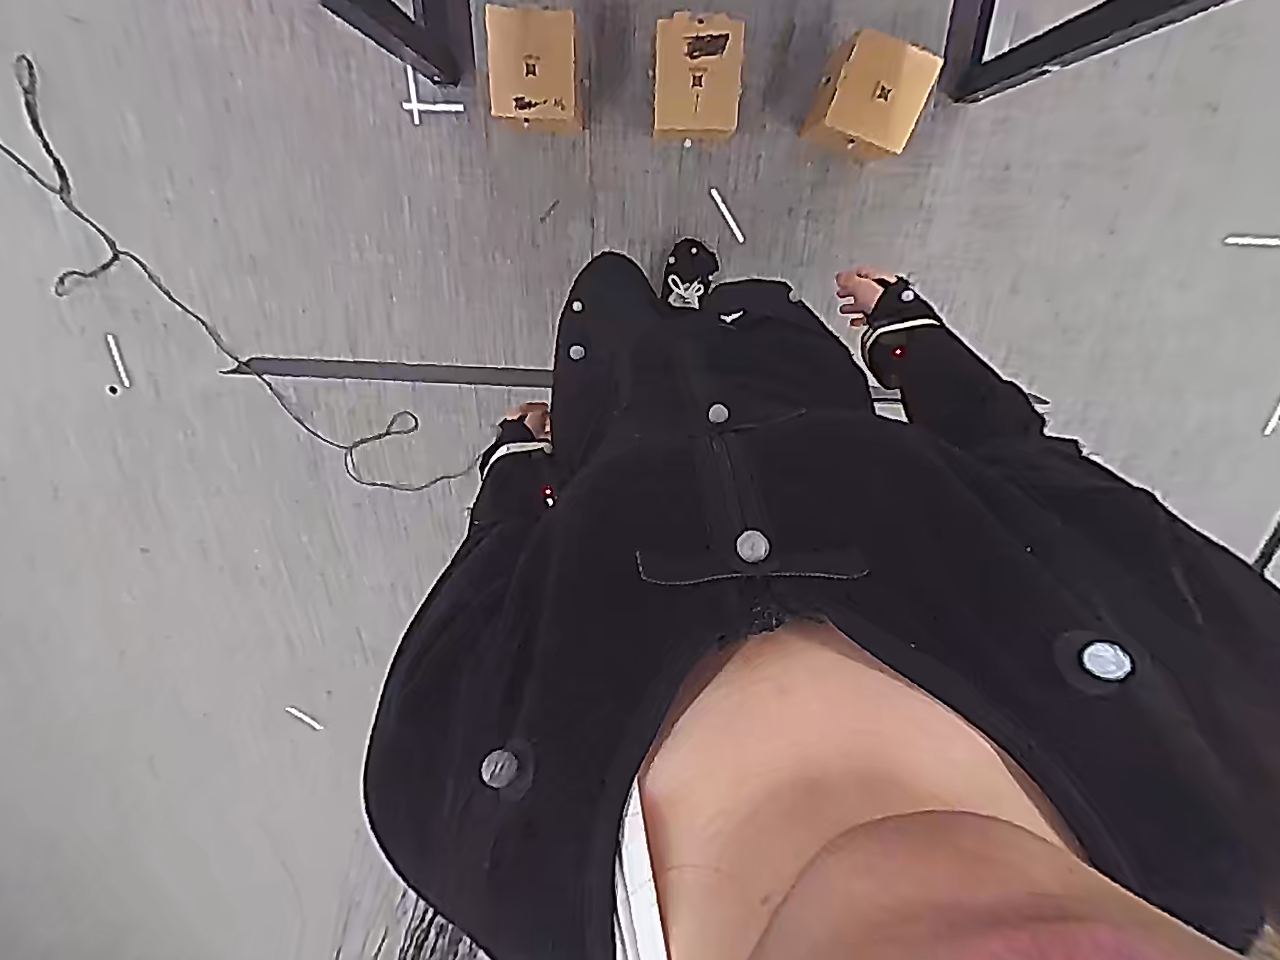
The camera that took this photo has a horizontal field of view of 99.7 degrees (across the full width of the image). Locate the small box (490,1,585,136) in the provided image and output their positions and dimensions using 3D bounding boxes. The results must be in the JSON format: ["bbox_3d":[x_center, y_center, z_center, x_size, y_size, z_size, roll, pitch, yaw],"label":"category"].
[{"bbox_3d":[-0.202,-0.825,1.100,0.168,0.176,0.179,3,113,-1],"label":"small box"}]

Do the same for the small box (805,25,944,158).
[{"bbox_3d":[0.470,-0.783,1.113,0.179,0.176,0.168,17,114,-6],"label":"small box"}]

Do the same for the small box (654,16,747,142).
[{"bbox_3d":[0.114,-0.808,1.103,0.168,0.176,0.179,1,116,0],"label":"small box"}]
